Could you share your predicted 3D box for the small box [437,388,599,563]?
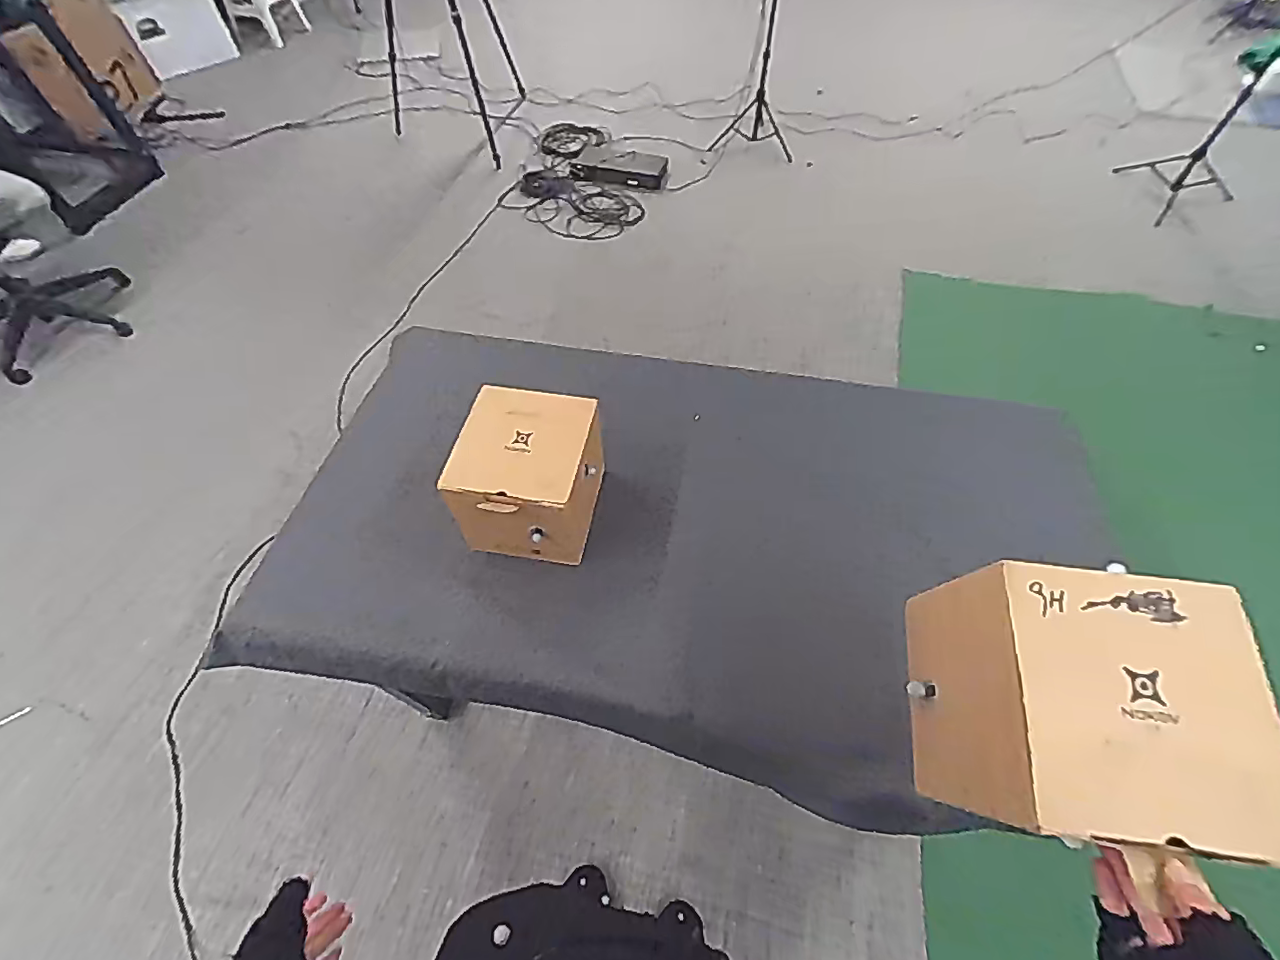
[{"bbox_3d":[-0.154,-0.001,0.760,0.168,0.176,0.179,8,55,4],"label":"small box"}]
